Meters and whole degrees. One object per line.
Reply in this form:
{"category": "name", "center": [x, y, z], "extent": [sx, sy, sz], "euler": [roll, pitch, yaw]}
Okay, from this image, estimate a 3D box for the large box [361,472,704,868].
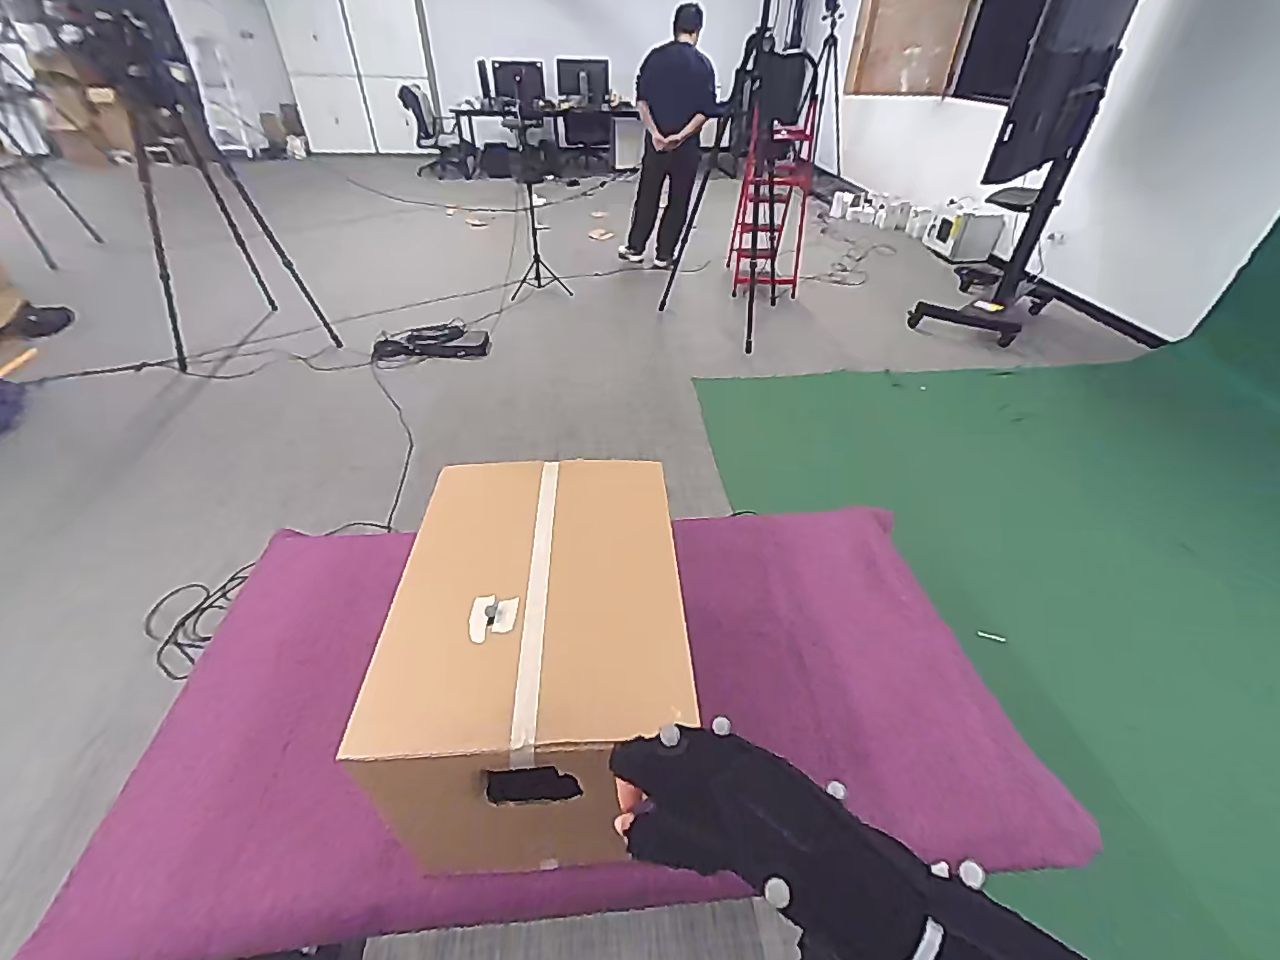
{"category": "large box", "center": [-0.113, 0.231, 0.725], "extent": [0.320, 0.320, 0.408], "euler": [-1, 40, -3]}
